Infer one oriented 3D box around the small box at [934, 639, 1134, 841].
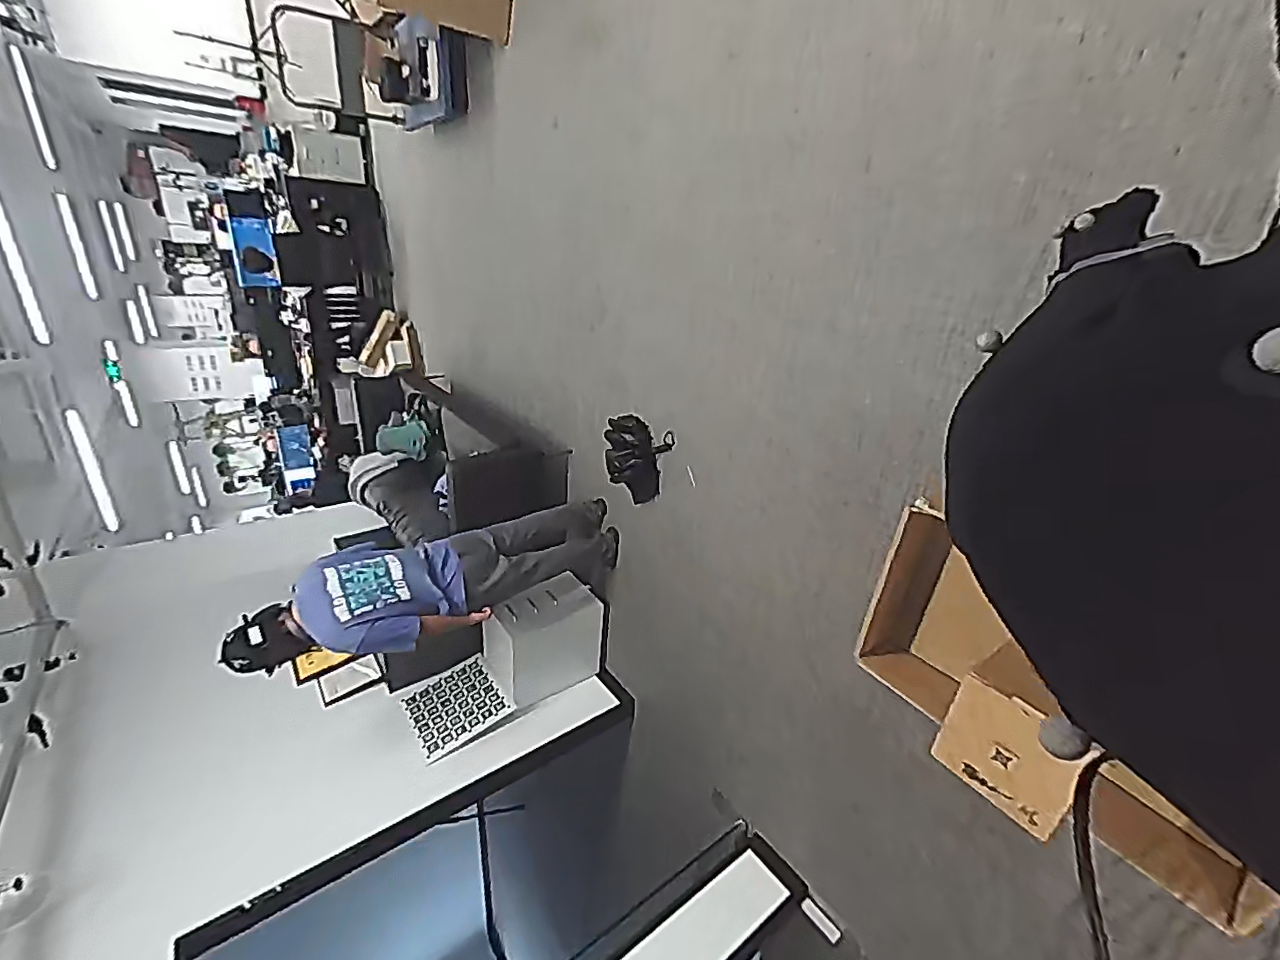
[{"bbox_3d":[0.579,0.367,0.796,0.168,0.176,0.179,35,127,46],"label":"small box"}]
